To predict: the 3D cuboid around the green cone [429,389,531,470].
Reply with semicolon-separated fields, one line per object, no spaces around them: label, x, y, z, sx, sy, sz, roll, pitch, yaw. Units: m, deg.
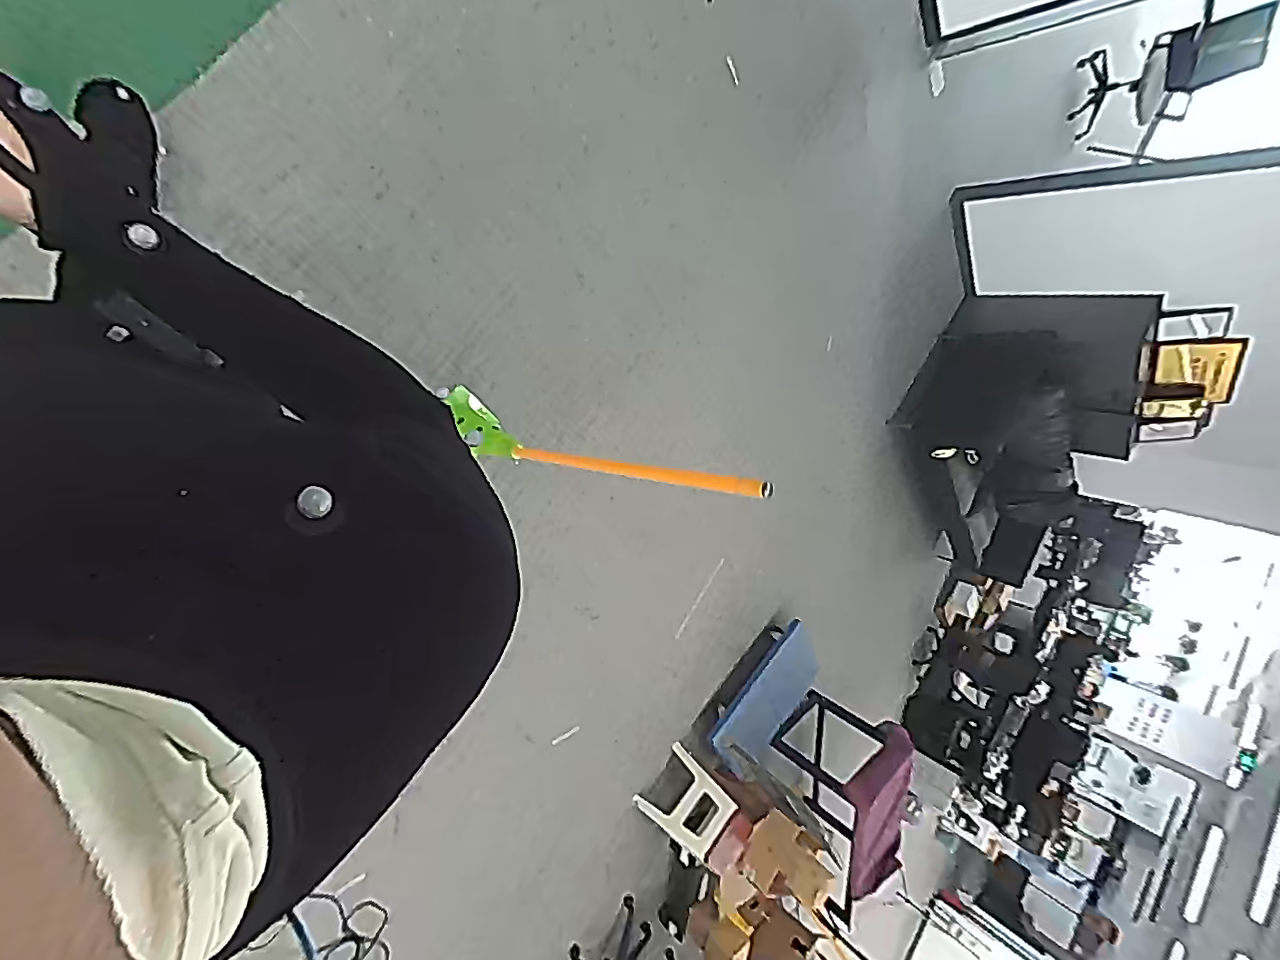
green cone;-0.420;-0.111;1.562;0.202;0.368;0.200;-54;132;-13
